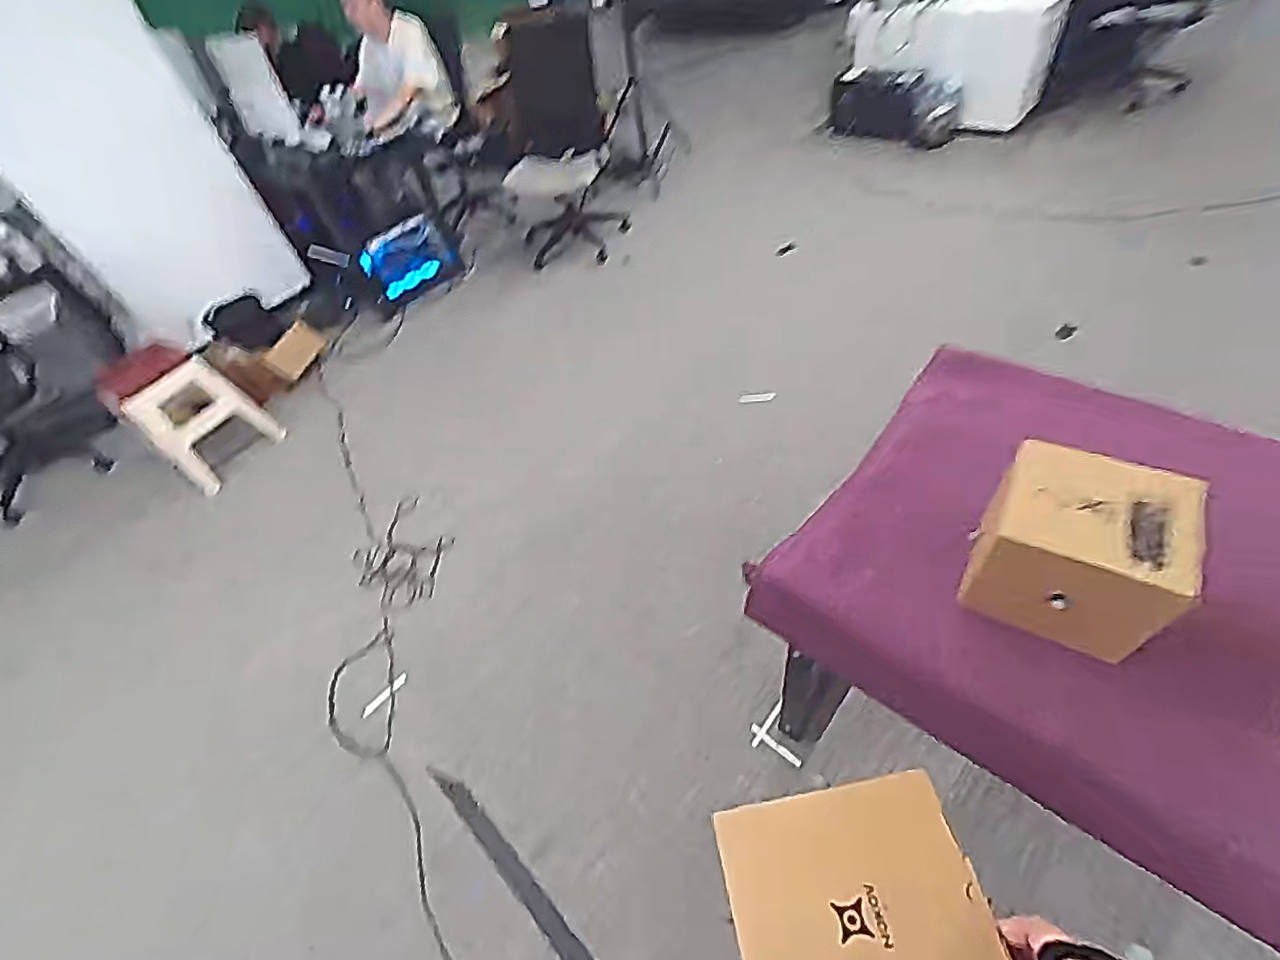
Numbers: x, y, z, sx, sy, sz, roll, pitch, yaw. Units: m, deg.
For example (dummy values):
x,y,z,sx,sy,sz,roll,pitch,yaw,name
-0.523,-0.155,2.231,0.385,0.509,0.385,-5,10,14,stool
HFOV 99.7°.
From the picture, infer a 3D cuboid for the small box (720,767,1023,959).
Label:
x,y,z,sx,sy,sz,roll,pitch,yaw,name
0.174,0.352,0.431,0.179,0.176,0.168,-13,48,4,small box
